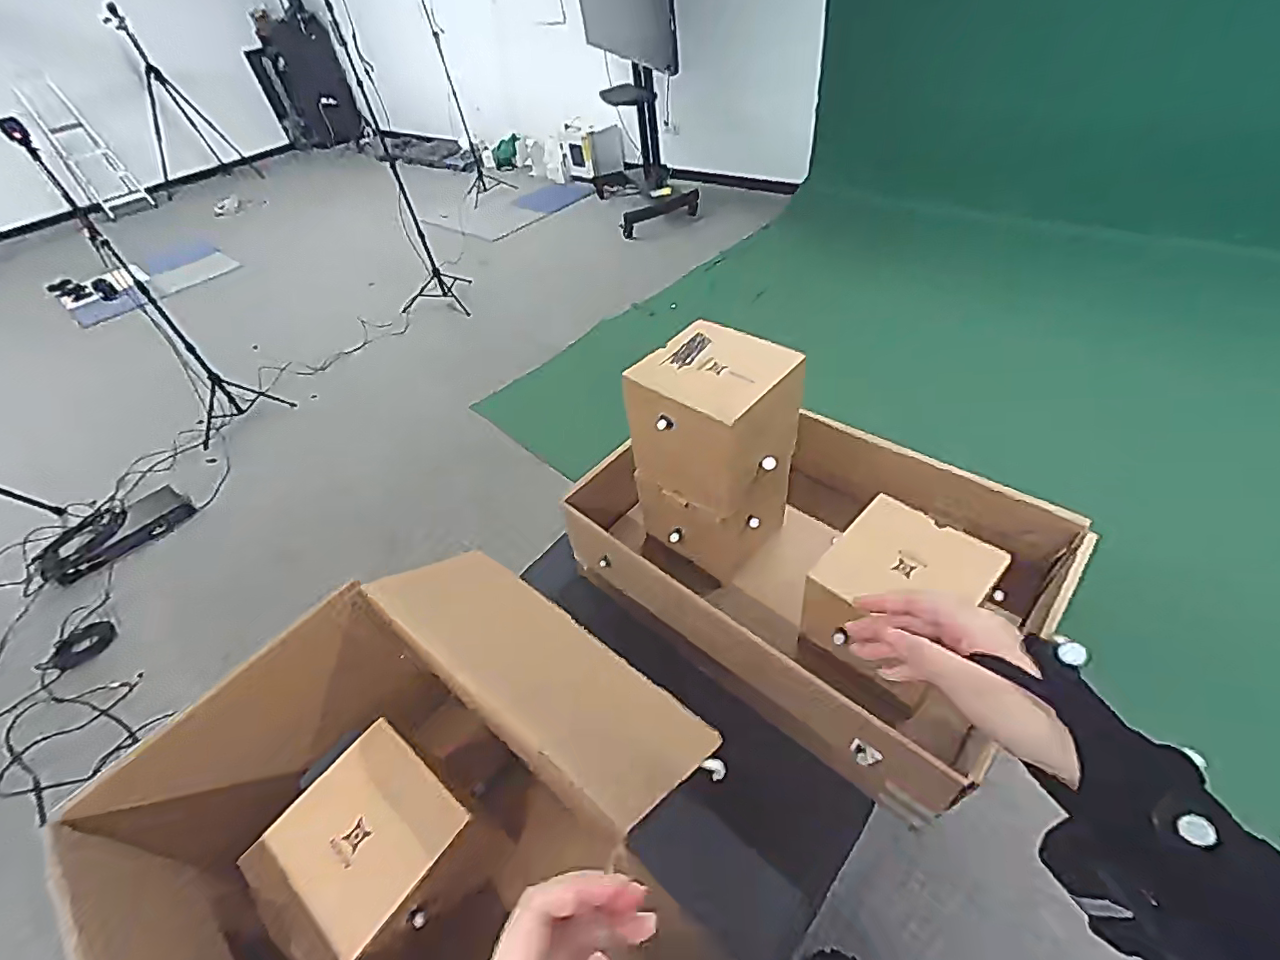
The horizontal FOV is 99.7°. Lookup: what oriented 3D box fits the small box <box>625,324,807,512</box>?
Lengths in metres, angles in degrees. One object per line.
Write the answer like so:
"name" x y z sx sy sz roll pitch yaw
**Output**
"small box" 0.104 -0.085 0.747 0.179 0.176 0.168 31 58 32
